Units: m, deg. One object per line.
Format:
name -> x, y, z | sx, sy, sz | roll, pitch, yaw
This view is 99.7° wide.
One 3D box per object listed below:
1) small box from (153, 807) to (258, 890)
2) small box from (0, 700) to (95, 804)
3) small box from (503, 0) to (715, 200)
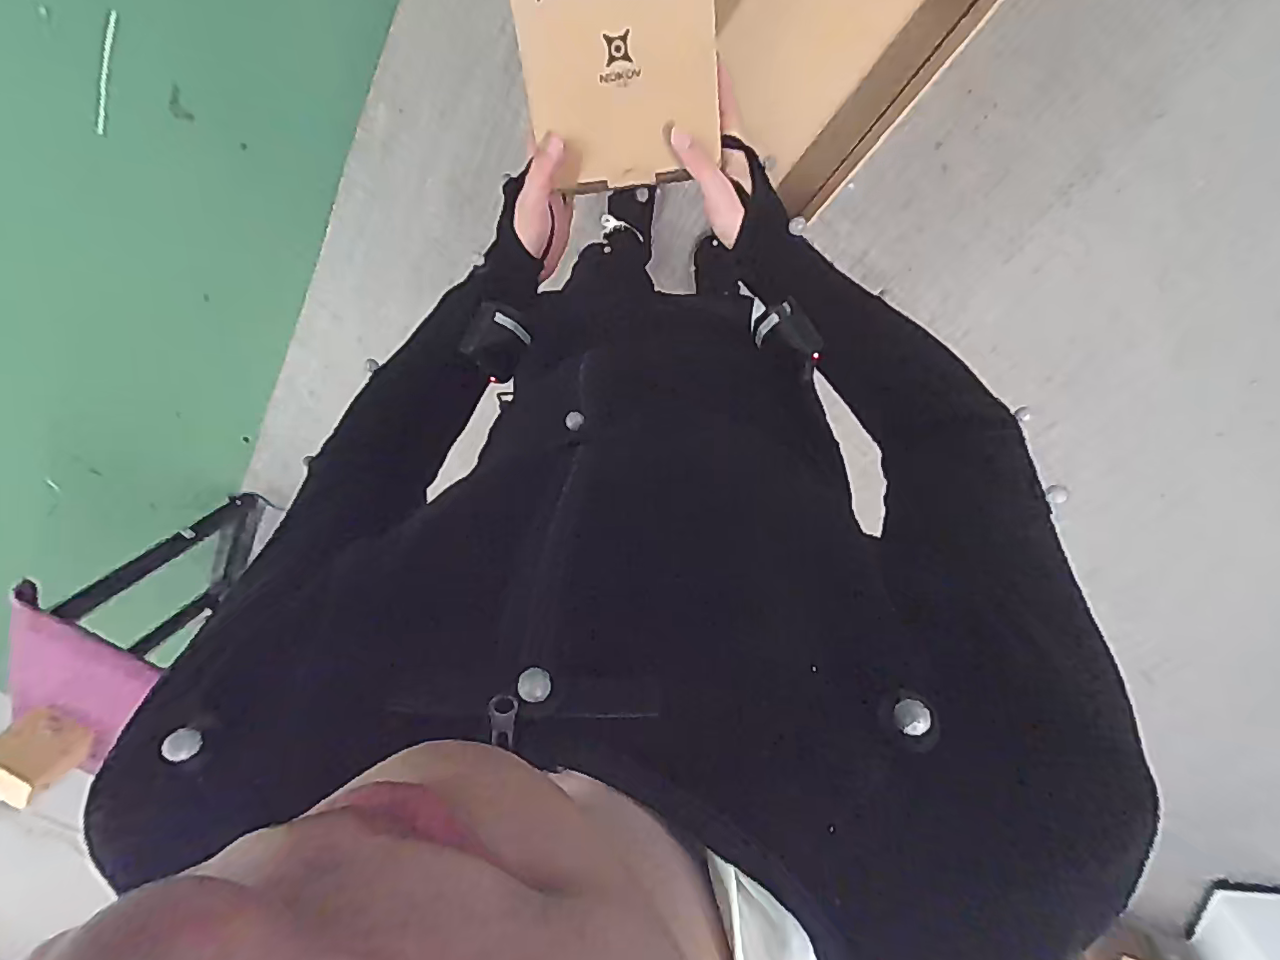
small box -> -1.274, 1.051, 1.593 | 0.168, 0.176, 0.179 | 34, 117, -7
small box -> -1.699, 0.760, 1.518 | 0.168, 0.176, 0.179 | 38, 117, -11
small box -> -0.014, -0.379, 0.520 | 0.168, 0.176, 0.179 | -3, 117, 9
